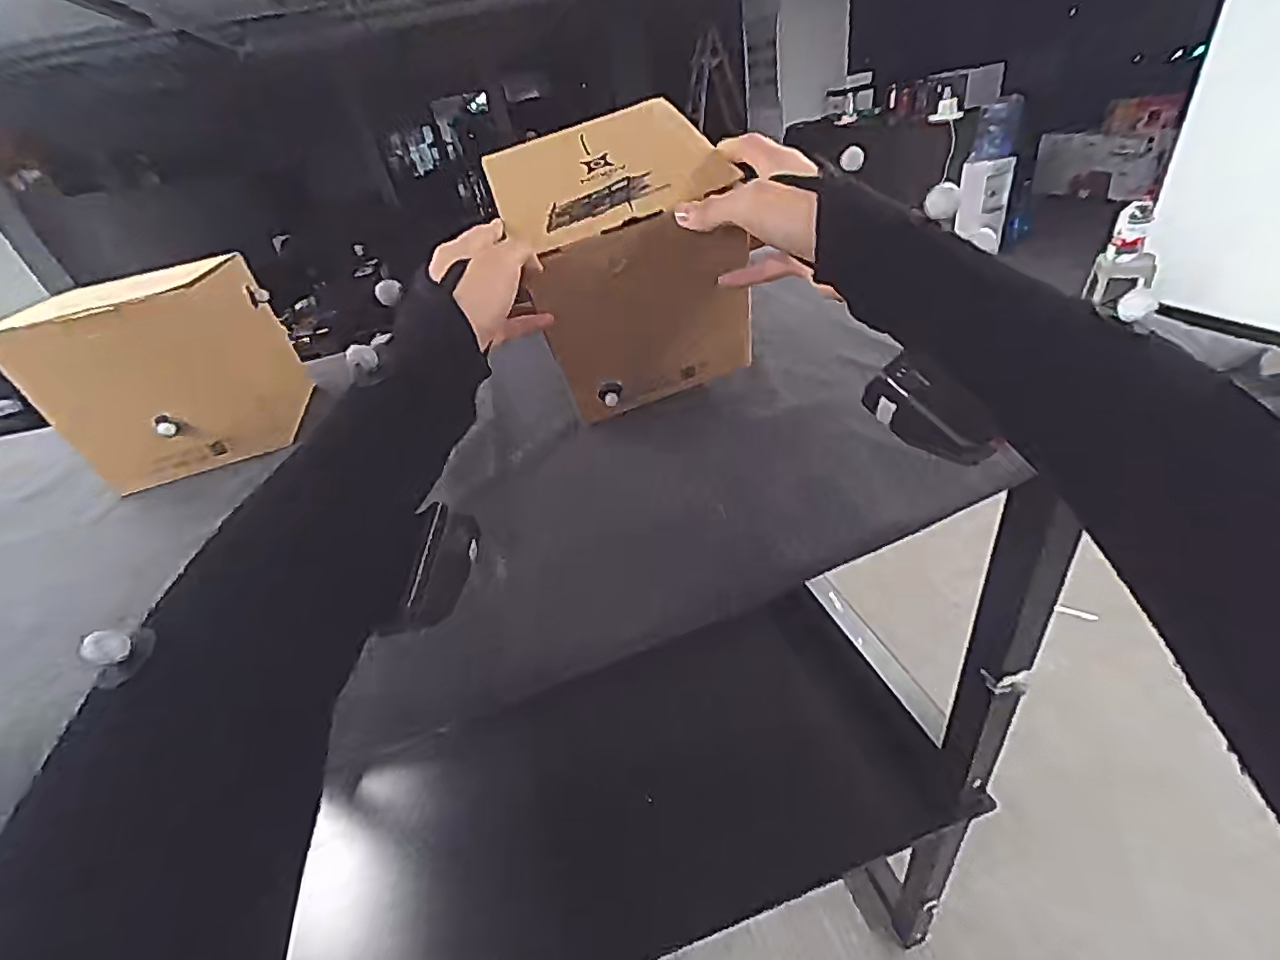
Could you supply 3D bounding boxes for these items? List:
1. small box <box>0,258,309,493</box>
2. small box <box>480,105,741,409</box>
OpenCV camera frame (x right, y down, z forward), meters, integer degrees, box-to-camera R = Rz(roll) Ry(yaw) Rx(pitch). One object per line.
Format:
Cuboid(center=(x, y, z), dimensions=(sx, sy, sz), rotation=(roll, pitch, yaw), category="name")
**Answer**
Cuboid(center=(-0.479, -0.114, 0.566), dimensions=(0.168, 0.176, 0.179), rotation=(-20, 36, -10), category="small box")
Cuboid(center=(-0.019, -0.184, 0.474), dimensions=(0.168, 0.176, 0.179), rotation=(-21, 52, -3), category="small box")
